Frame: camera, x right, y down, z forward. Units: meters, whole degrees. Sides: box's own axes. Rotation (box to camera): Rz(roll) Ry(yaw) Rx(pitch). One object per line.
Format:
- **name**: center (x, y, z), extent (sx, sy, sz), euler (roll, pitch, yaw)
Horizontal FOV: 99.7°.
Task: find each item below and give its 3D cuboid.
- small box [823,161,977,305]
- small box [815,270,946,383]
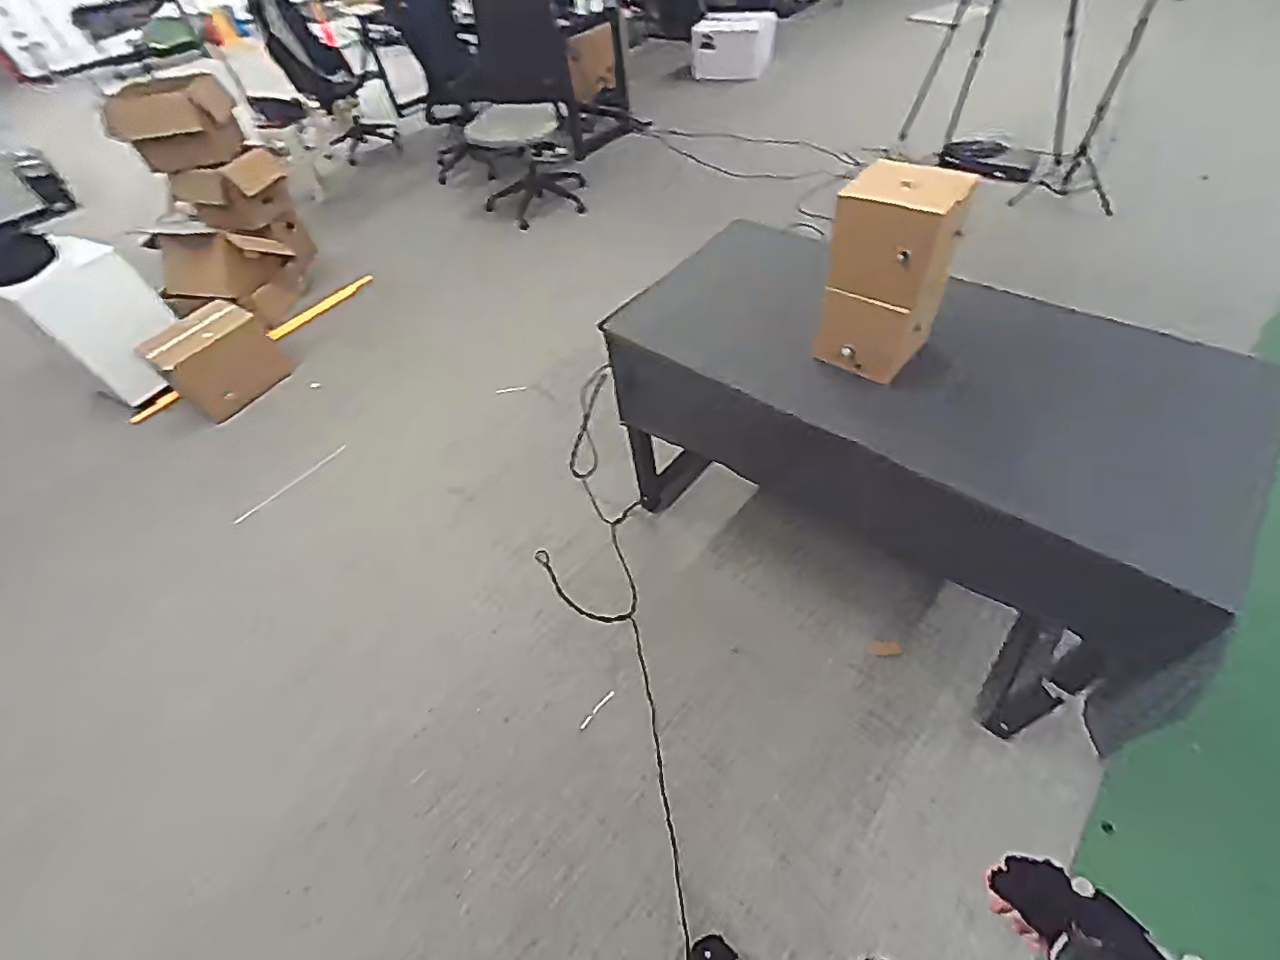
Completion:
- **small box**: center (0.450, -0.435, 0.960), extent (0.179, 0.176, 0.168), euler (30, 59, 29)
- **small box**: center (0.469, -0.326, 1.081), extent (0.168, 0.176, 0.179), euler (32, 62, 30)
